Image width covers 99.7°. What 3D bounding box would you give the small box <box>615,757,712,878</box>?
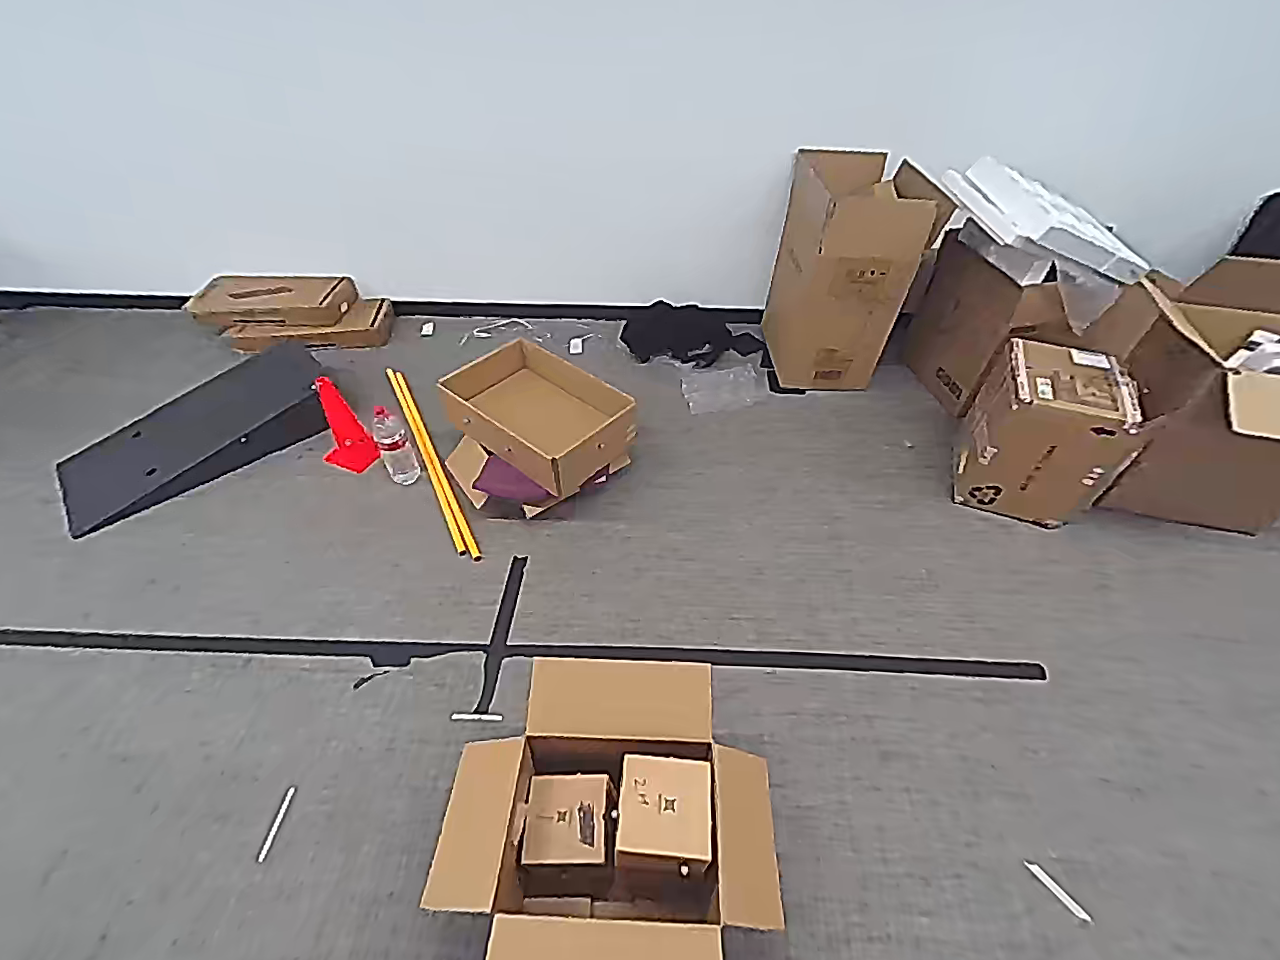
[{"bbox_3d":[0.047,0.674,1.077,0.179,0.176,0.168,4,45,3],"label":"small box"}]
